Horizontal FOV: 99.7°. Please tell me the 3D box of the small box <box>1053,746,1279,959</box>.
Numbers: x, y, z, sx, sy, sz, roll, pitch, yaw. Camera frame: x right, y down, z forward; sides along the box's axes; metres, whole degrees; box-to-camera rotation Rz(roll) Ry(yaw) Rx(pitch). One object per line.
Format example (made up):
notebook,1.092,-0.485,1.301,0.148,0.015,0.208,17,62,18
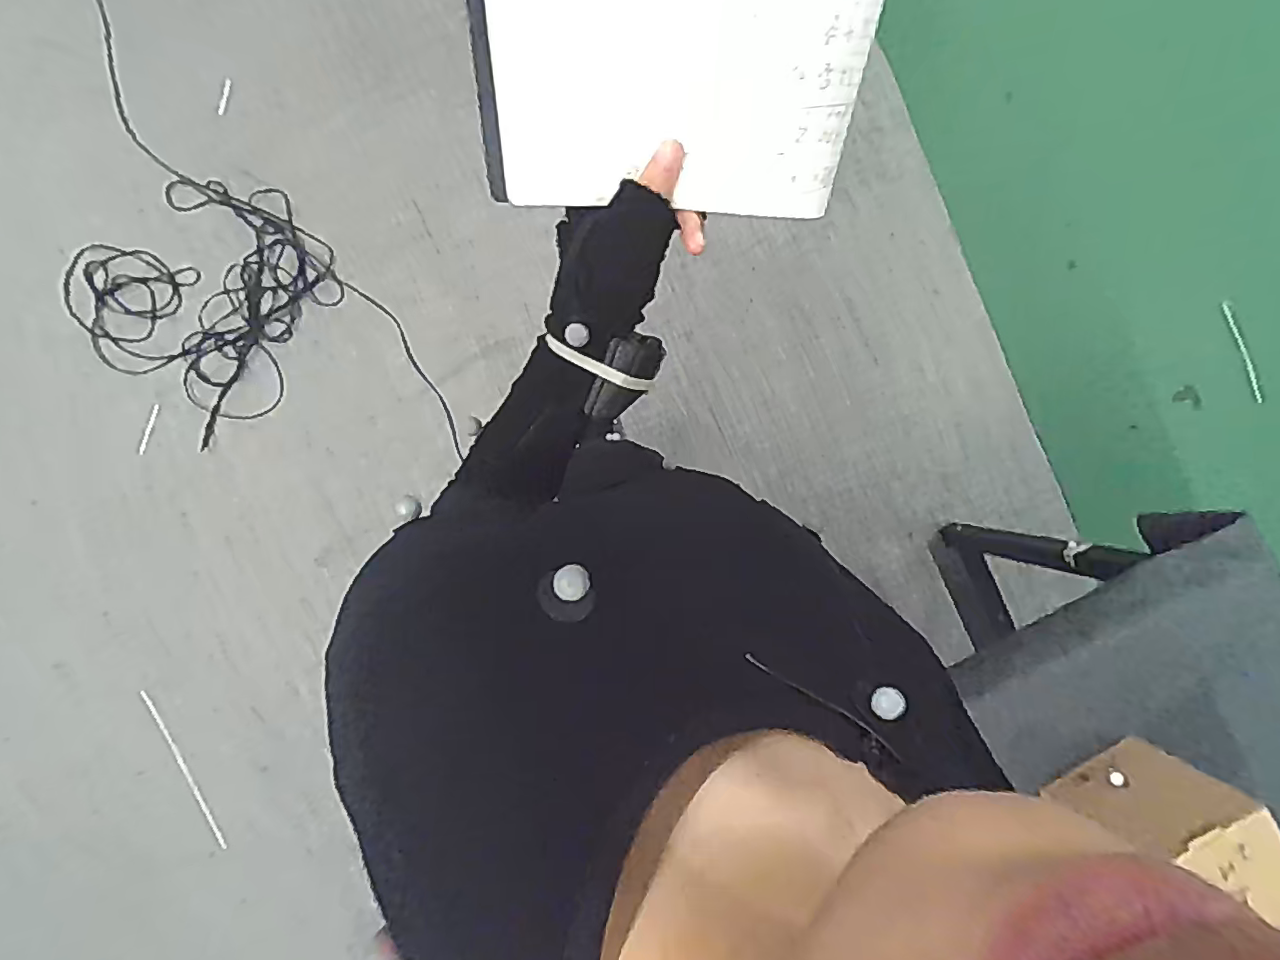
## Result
small box,0.706,0.495,0.708,0.168,0.176,0.179,-29,92,-2
